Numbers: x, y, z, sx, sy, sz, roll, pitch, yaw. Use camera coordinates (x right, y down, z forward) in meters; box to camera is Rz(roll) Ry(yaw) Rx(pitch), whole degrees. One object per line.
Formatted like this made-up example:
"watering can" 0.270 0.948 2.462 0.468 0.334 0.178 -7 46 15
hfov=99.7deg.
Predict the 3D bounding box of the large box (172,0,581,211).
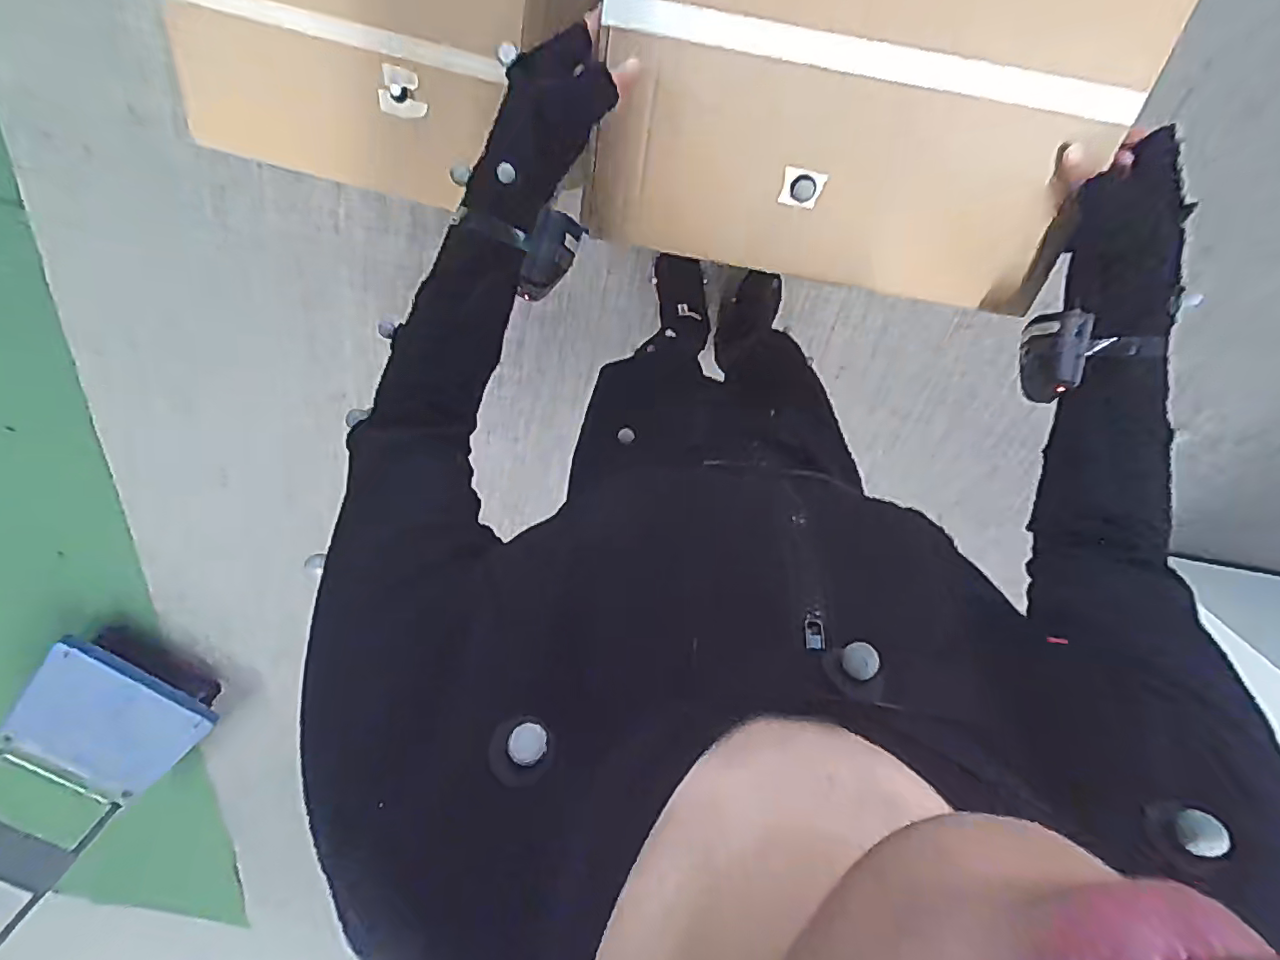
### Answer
"large box" -0.317 -0.586 0.734 0.408 0.320 0.320 12 121 -4
